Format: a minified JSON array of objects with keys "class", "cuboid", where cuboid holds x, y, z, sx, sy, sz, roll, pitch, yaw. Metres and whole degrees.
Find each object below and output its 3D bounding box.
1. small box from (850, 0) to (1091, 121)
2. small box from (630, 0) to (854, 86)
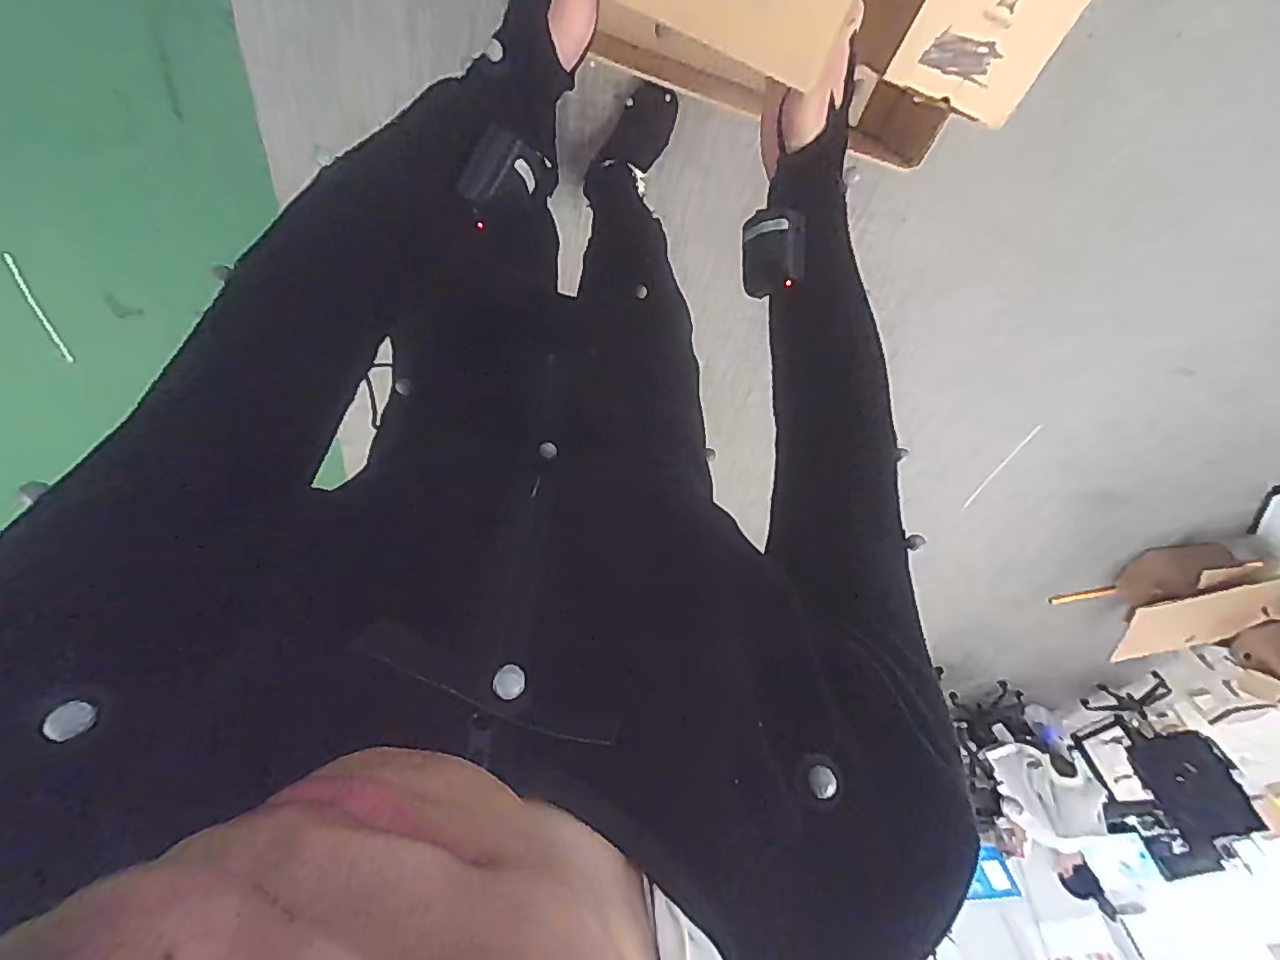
[{"class":"small box","cuboid":[0.351,-0.529,0.575,0.168,0.176,0.179,9,136,-17]},{"class":"small box","cuboid":[0.071,-0.411,0.360,0.168,0.176,0.179,12,134,-16]}]
